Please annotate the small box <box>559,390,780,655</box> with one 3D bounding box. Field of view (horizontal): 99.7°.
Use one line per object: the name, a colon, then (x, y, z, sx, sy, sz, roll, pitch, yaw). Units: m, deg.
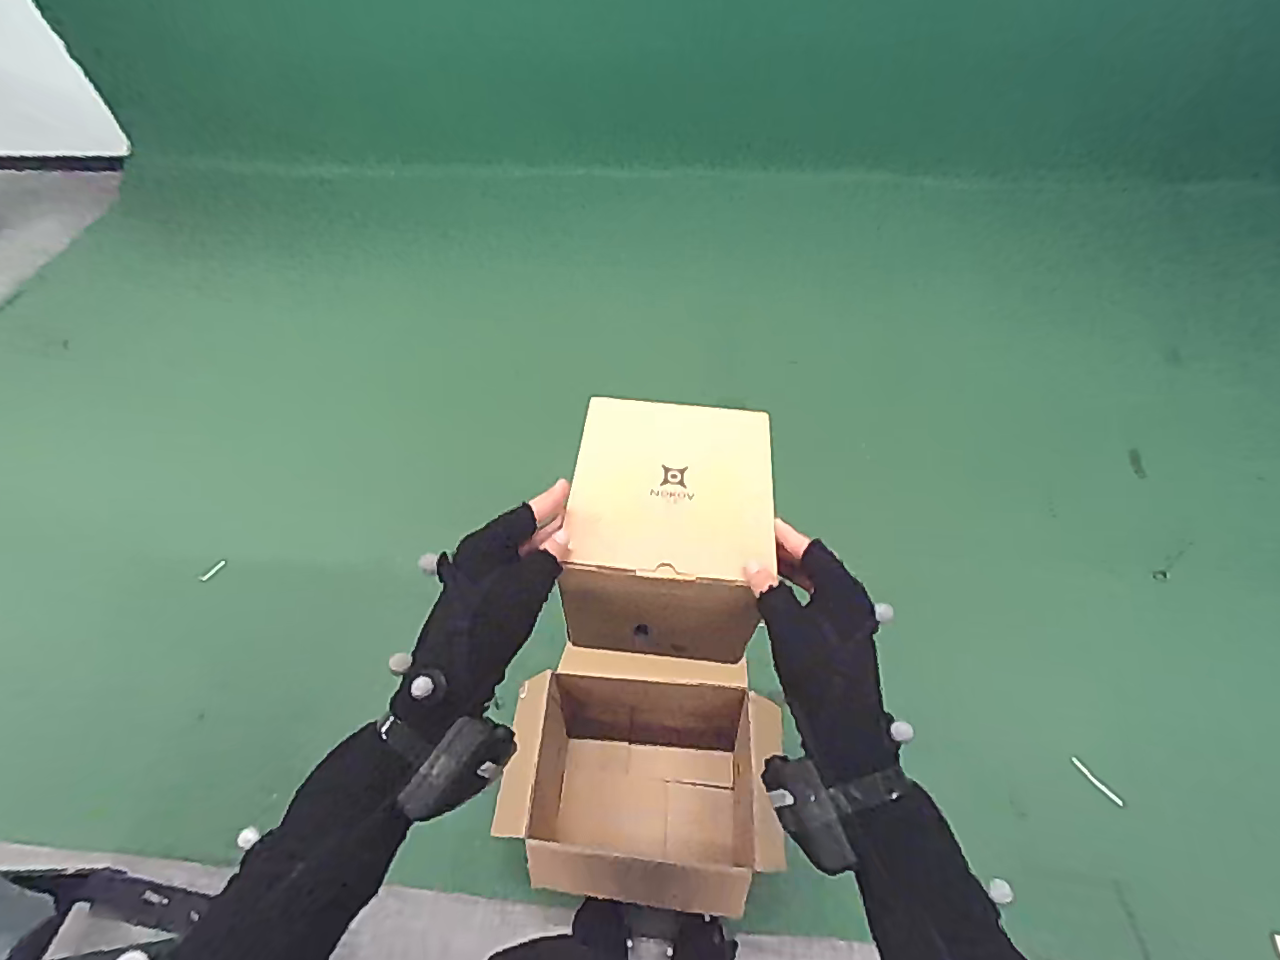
small box: (0.025, 0.043, 0.505, 0.168, 0.176, 0.179, 6, 55, 2)
